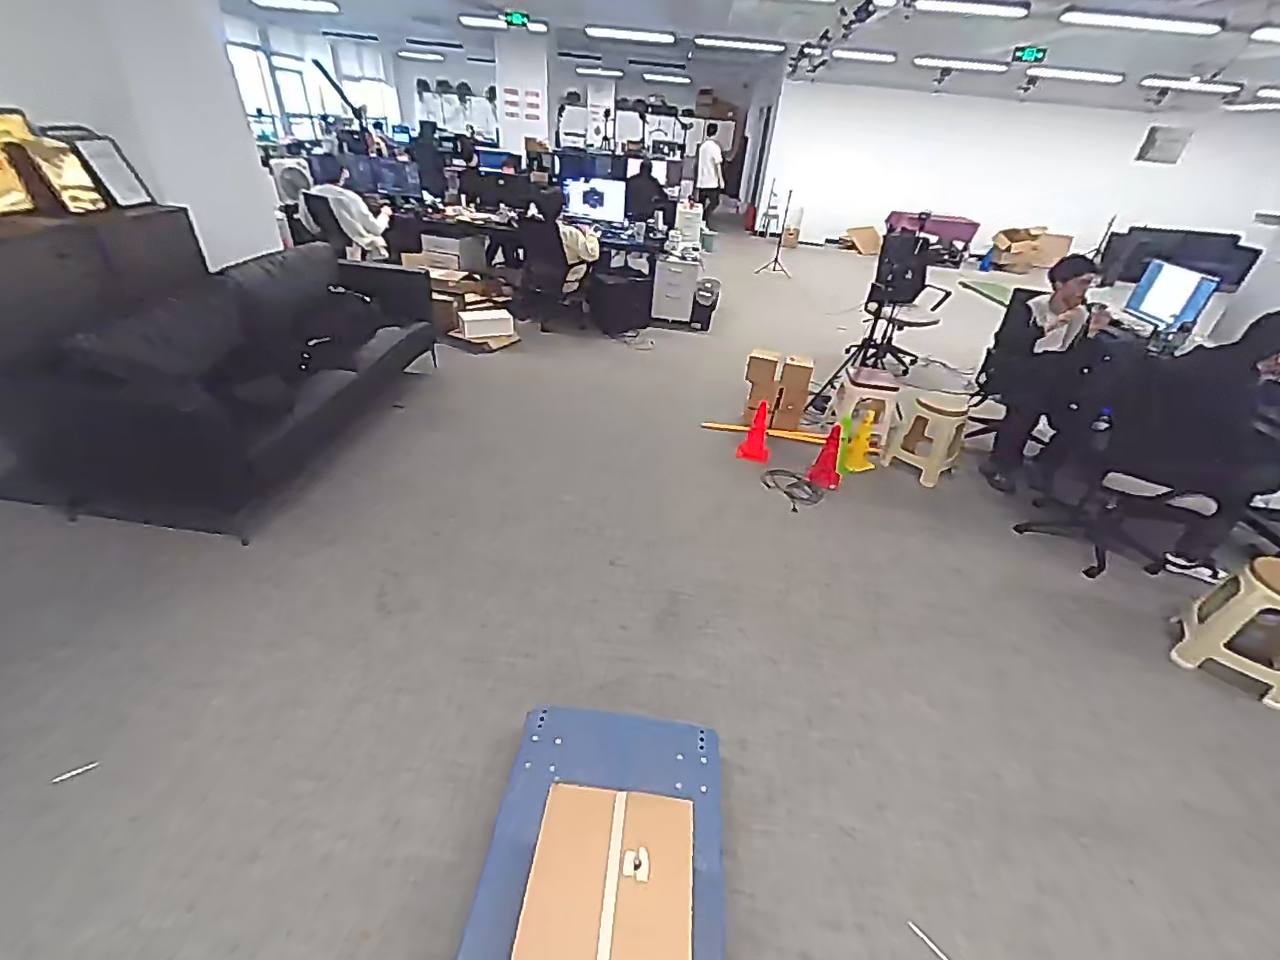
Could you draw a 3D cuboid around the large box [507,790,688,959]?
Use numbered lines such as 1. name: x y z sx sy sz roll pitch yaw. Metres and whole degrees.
1. large box: -0.077 0.916 1.080 0.320 0.320 0.408 7 32 1
